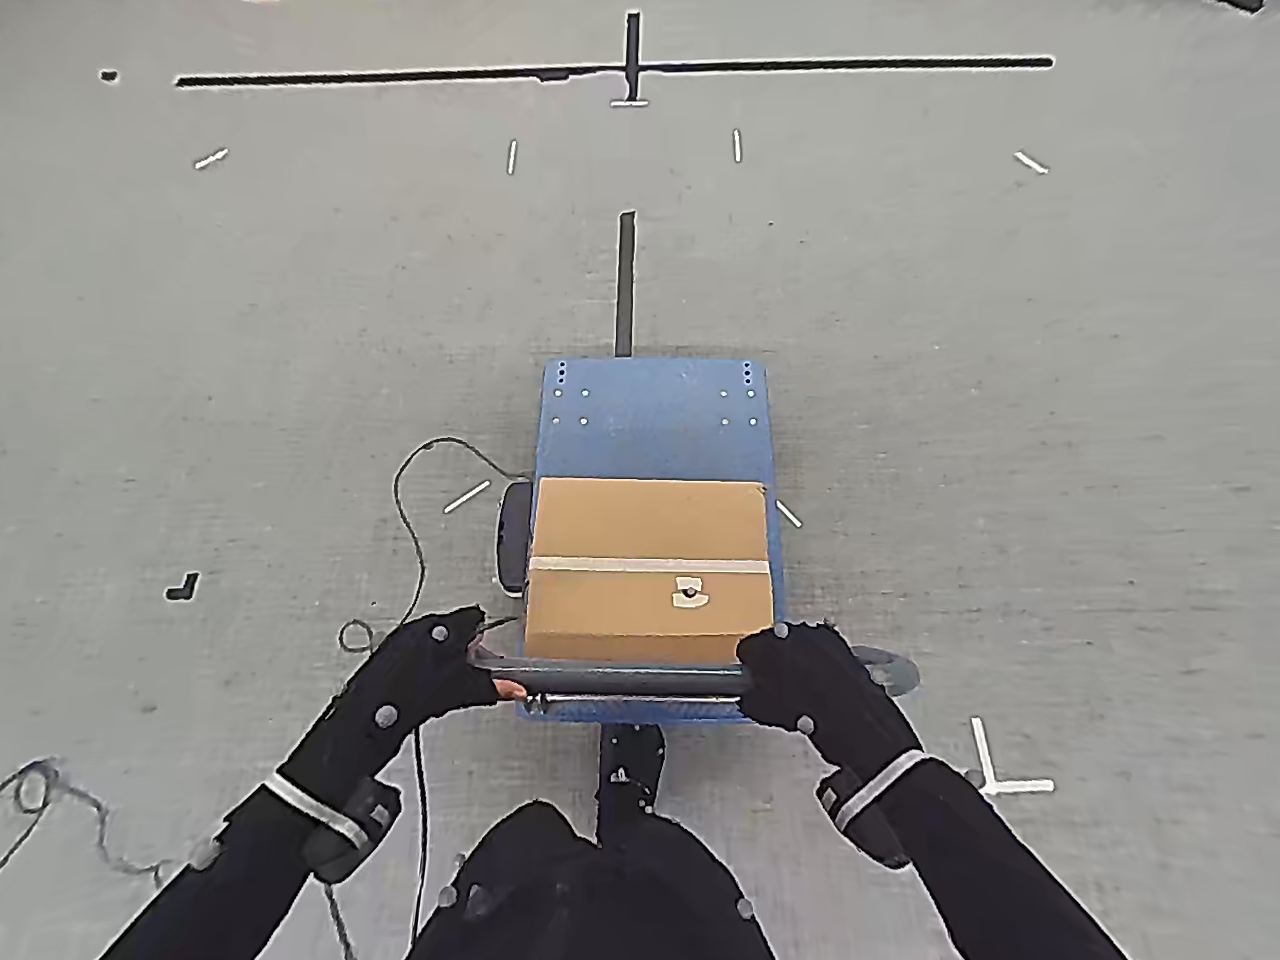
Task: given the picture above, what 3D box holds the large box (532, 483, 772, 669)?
[{"bbox_3d":[0.018,0.207,1.077,0.408,0.320,0.320,2,69,0],"label":"large box"}]
